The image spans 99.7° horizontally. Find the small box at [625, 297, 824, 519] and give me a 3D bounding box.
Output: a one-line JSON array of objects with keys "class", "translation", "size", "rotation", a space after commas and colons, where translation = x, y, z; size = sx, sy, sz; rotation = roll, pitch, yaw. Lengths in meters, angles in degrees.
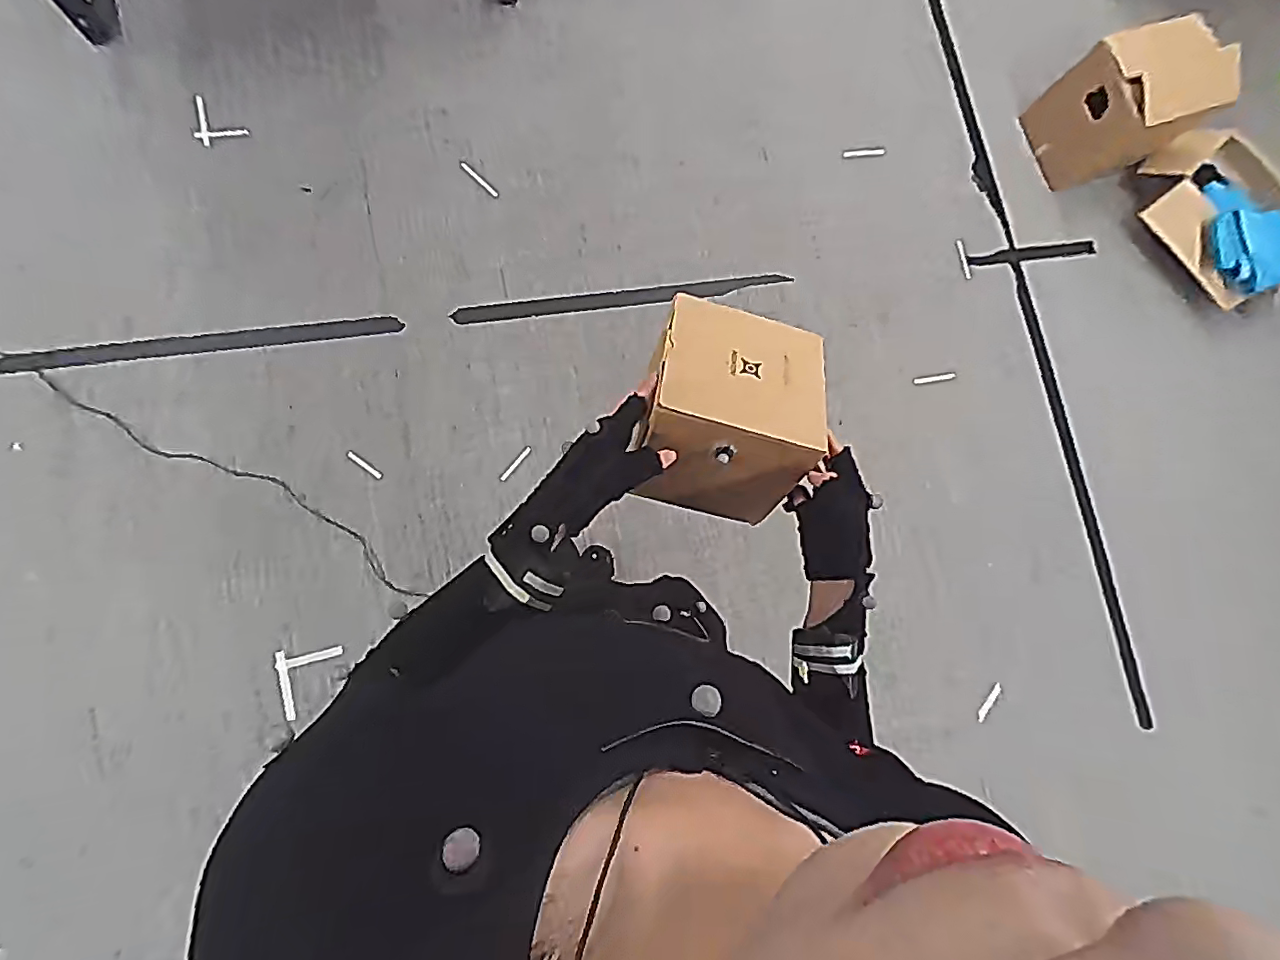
[{"class": "small box", "translation": [0.089, -0.073, 0.622], "size": [0.179, 0.176, 0.168], "rotation": [14, 57, -7]}]
